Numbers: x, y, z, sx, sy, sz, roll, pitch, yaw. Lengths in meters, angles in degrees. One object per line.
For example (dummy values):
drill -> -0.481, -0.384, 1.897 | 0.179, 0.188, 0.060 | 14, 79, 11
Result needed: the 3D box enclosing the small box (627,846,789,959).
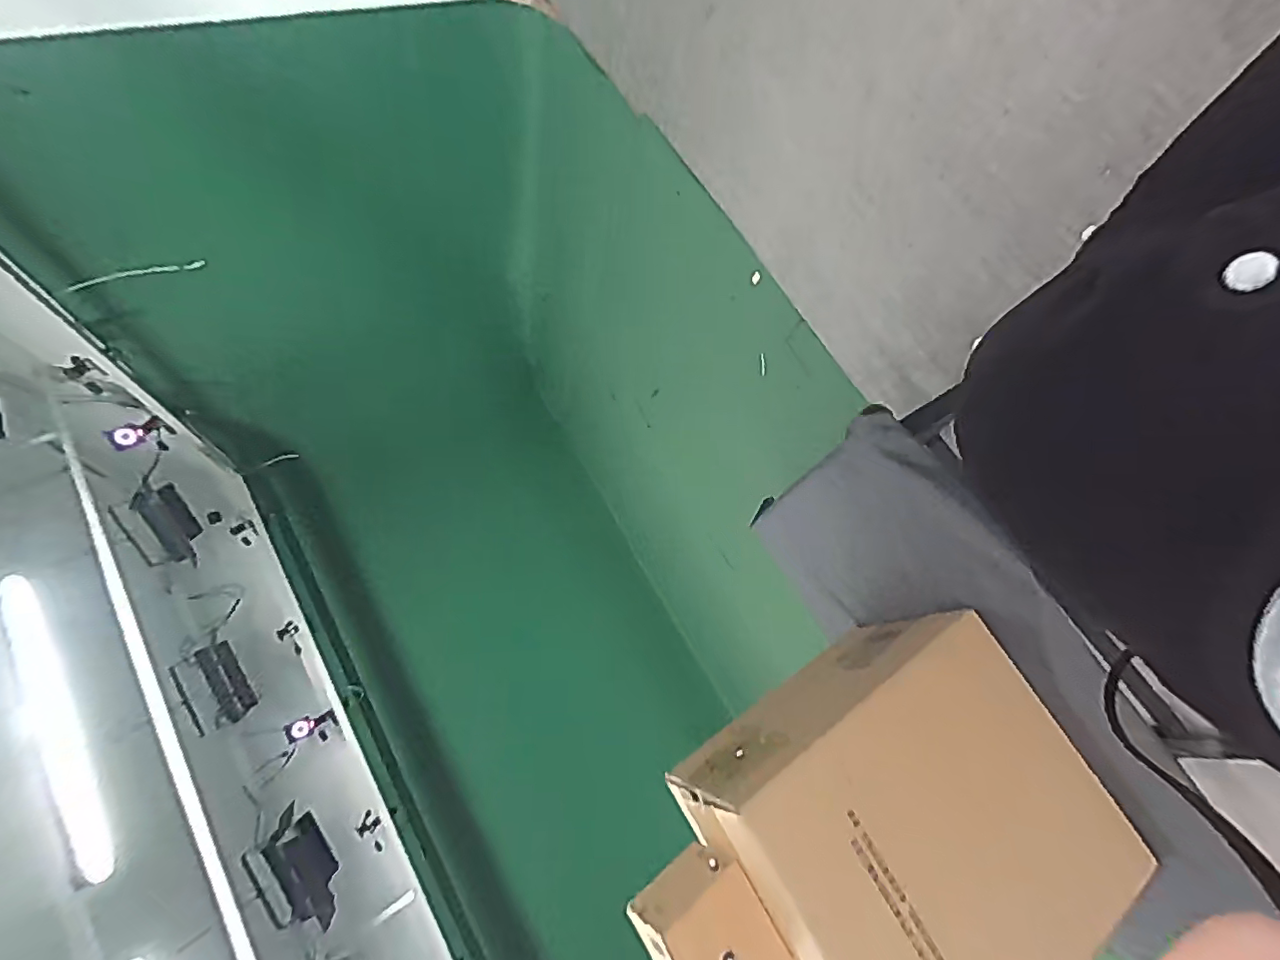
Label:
small box -> 0.111, 0.764, 0.911 | 0.179, 0.176, 0.168 | 58, 150, 10
